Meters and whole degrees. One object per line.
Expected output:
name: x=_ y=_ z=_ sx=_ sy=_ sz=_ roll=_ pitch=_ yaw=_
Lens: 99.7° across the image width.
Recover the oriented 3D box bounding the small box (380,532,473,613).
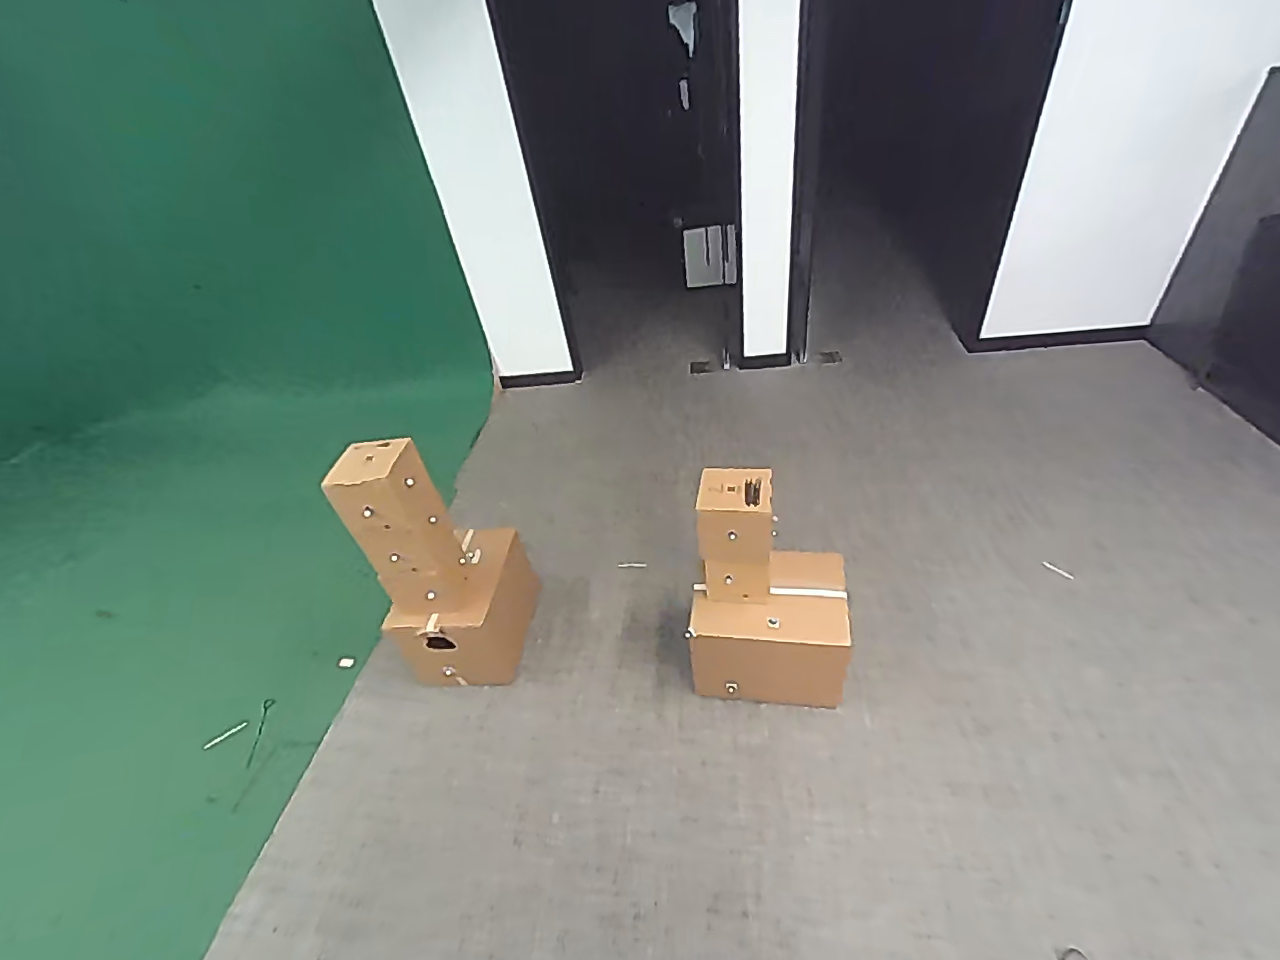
small box: x=-0.613 y=0.272 z=1.581 sx=0.179 sy=0.176 sz=0.168 roll=-5 pitch=38 yaw=8

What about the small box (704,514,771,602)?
small box: x=0.269 y=0.213 z=1.469 sx=0.168 sy=0.176 sz=0.179 roll=1 pitch=38 yaw=13

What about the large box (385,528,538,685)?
large box: x=-0.559 y=0.414 z=1.785 sx=0.320 sy=0.320 sz=0.408 roll=-3 pitch=38 yaw=8

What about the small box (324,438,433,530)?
small box: x=-0.655 y=0.016 z=1.381 sx=0.168 sy=0.176 sz=0.179 roll=-5 pitch=39 yaw=6

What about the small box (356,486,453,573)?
small box: x=-0.634 y=0.142 z=1.485 sx=0.168 sy=0.176 sz=0.179 roll=-6 pitch=38 yaw=4
